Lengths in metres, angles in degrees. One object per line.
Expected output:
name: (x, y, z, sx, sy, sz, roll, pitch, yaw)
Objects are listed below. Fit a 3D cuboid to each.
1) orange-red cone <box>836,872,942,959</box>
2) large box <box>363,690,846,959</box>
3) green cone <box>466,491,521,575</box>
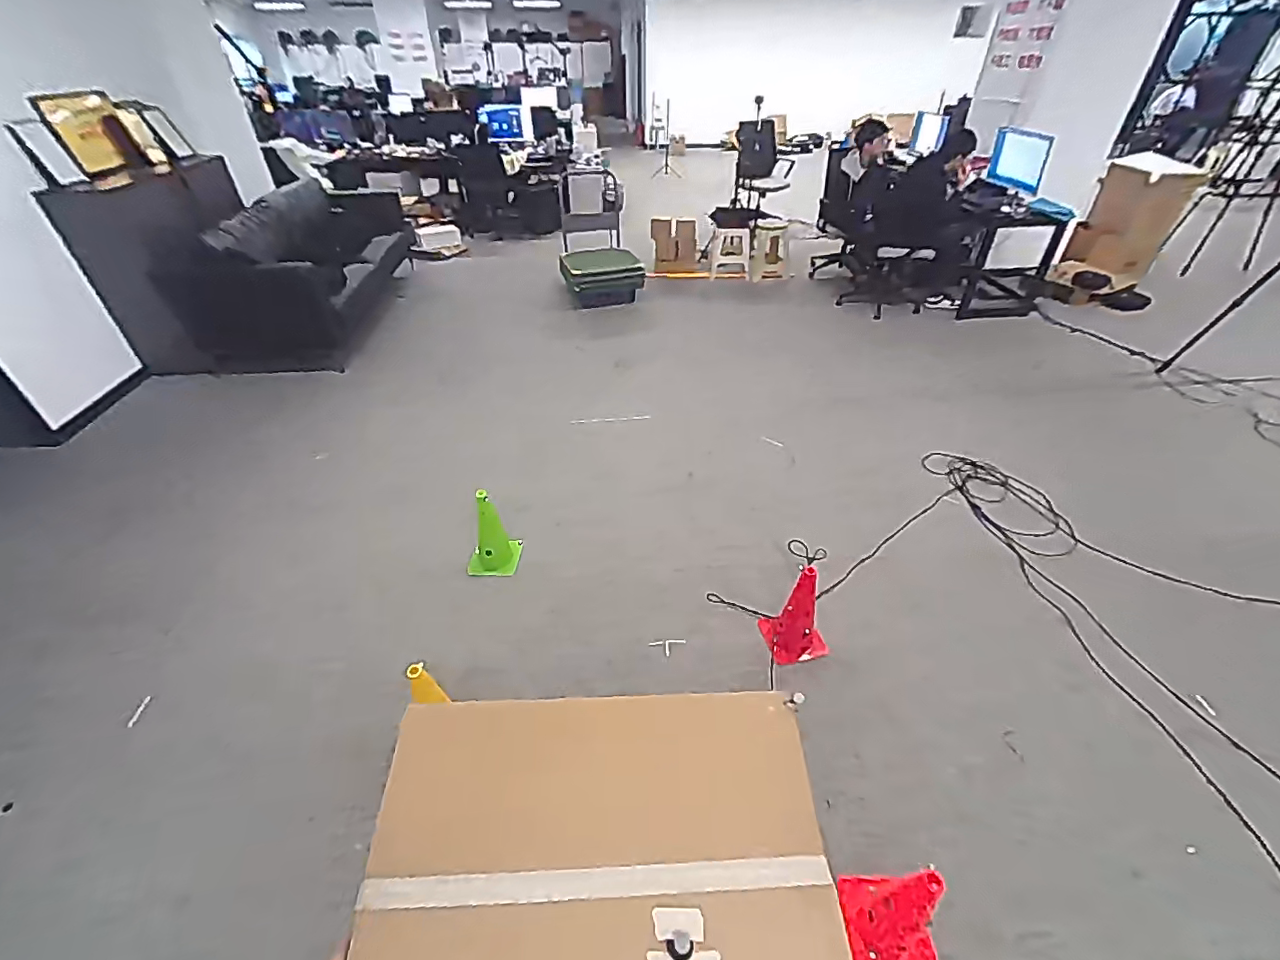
orange-red cone: (0.590, 0.946, 1.200, 0.199, 0.360, 0.198, 3, 39, 2)
large box: (-0.035, 0.447, 0.593, 0.408, 0.320, 0.320, -1, 50, -3)
green cone: (-0.616, 0.189, 2.170, 0.200, 0.368, 0.202, 0, 40, 2)
